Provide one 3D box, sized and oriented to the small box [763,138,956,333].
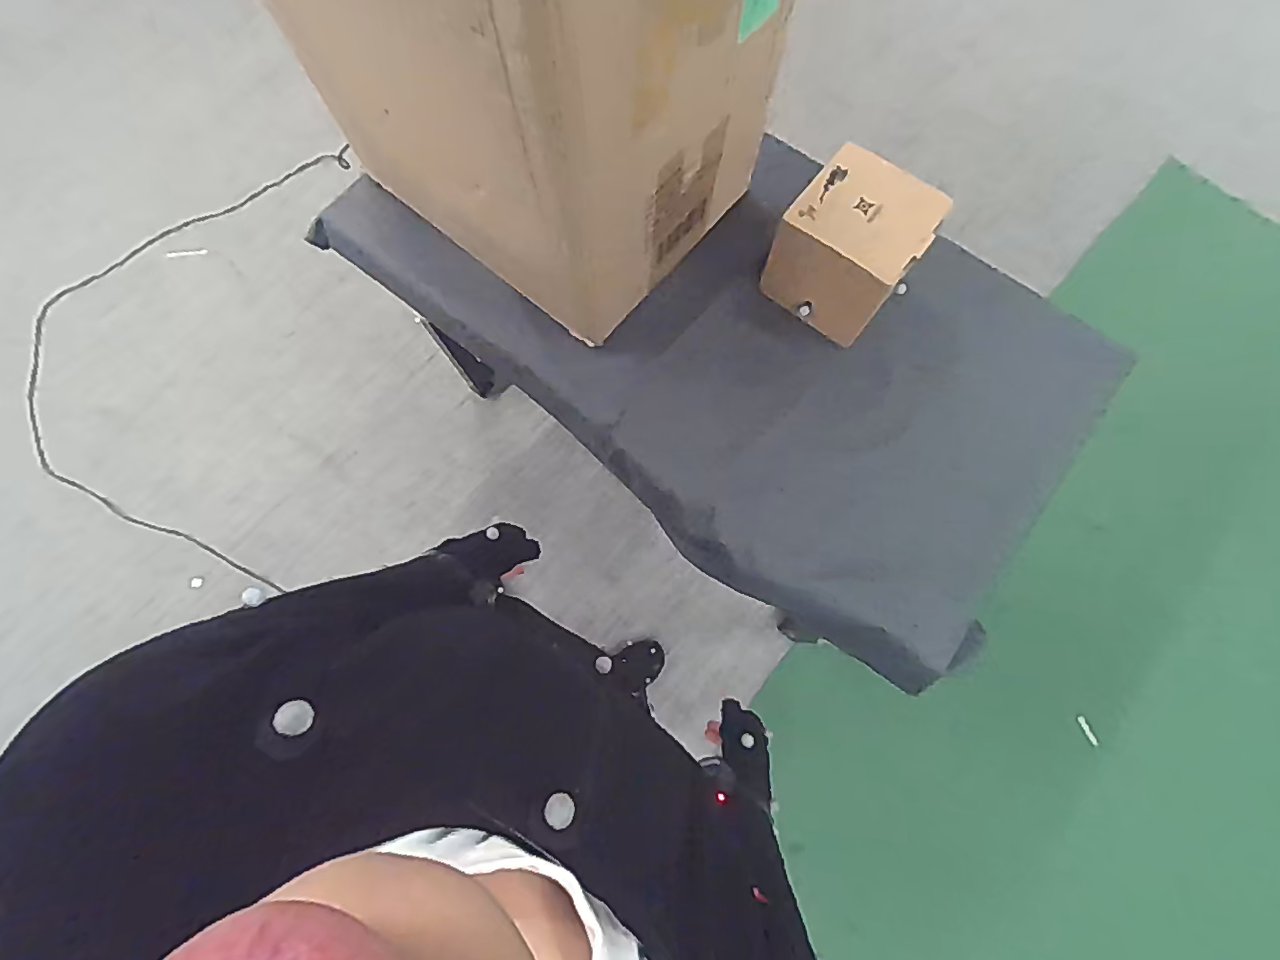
[{"bbox_3d":[0.313,-0.348,0.807,0.179,0.176,0.168,38,79,9],"label":"small box"}]
